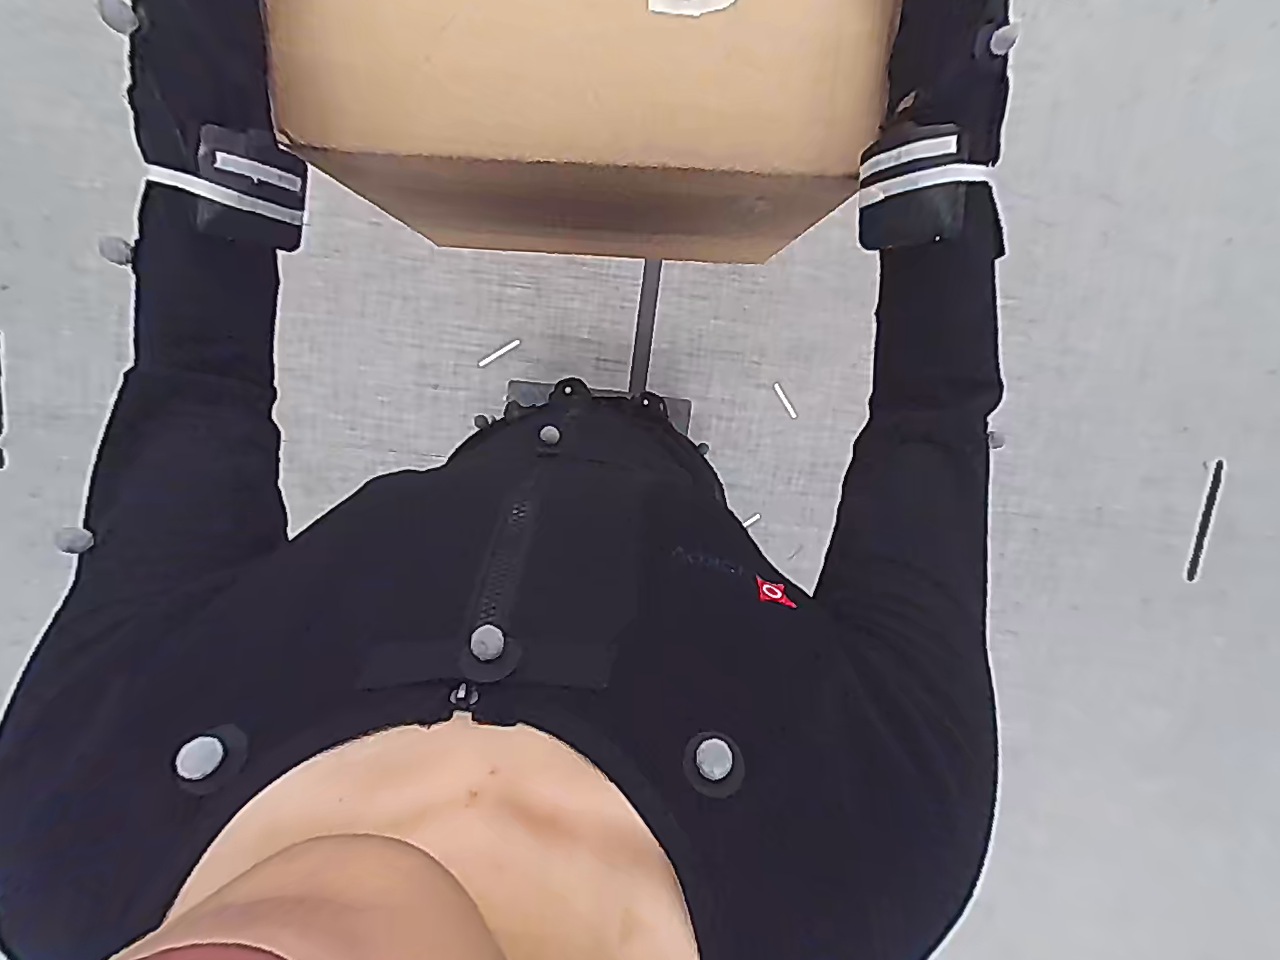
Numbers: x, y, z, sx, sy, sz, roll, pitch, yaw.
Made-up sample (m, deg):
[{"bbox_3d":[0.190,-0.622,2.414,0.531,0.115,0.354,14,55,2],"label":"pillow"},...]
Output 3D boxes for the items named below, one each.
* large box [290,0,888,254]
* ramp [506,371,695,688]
[{"bbox_3d":[-0.035,-0.404,0.493,0.408,0.320,0.320,2,102,-2],"label":"large box"},{"bbox_3d":[-0.141,0.198,1.604,0.509,0.206,0.991,4,100,-2],"label":"ramp"}]
